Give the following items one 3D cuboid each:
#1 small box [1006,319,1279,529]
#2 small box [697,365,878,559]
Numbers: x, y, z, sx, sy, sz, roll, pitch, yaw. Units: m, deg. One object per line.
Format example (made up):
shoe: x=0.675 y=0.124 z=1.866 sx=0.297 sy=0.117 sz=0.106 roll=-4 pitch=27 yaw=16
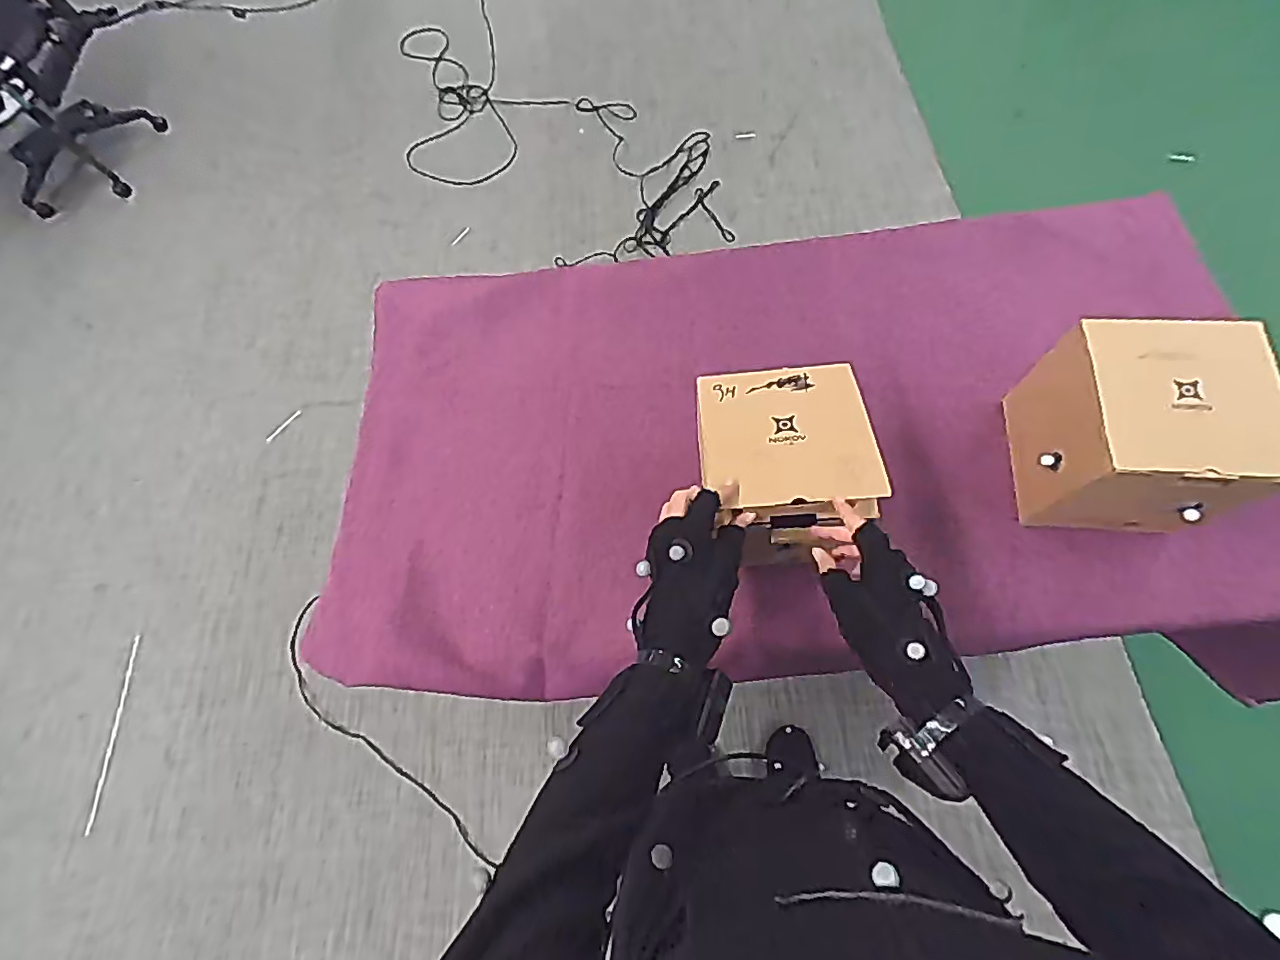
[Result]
small box: x=0.538 y=-0.053 z=0.595 sx=0.168 sy=0.176 sz=0.179 roll=4 pitch=68 yaw=9
small box: x=0.156 y=-0.008 z=0.627 sx=0.168 sy=0.176 sz=0.179 roll=-4 pitch=68 yaw=5
